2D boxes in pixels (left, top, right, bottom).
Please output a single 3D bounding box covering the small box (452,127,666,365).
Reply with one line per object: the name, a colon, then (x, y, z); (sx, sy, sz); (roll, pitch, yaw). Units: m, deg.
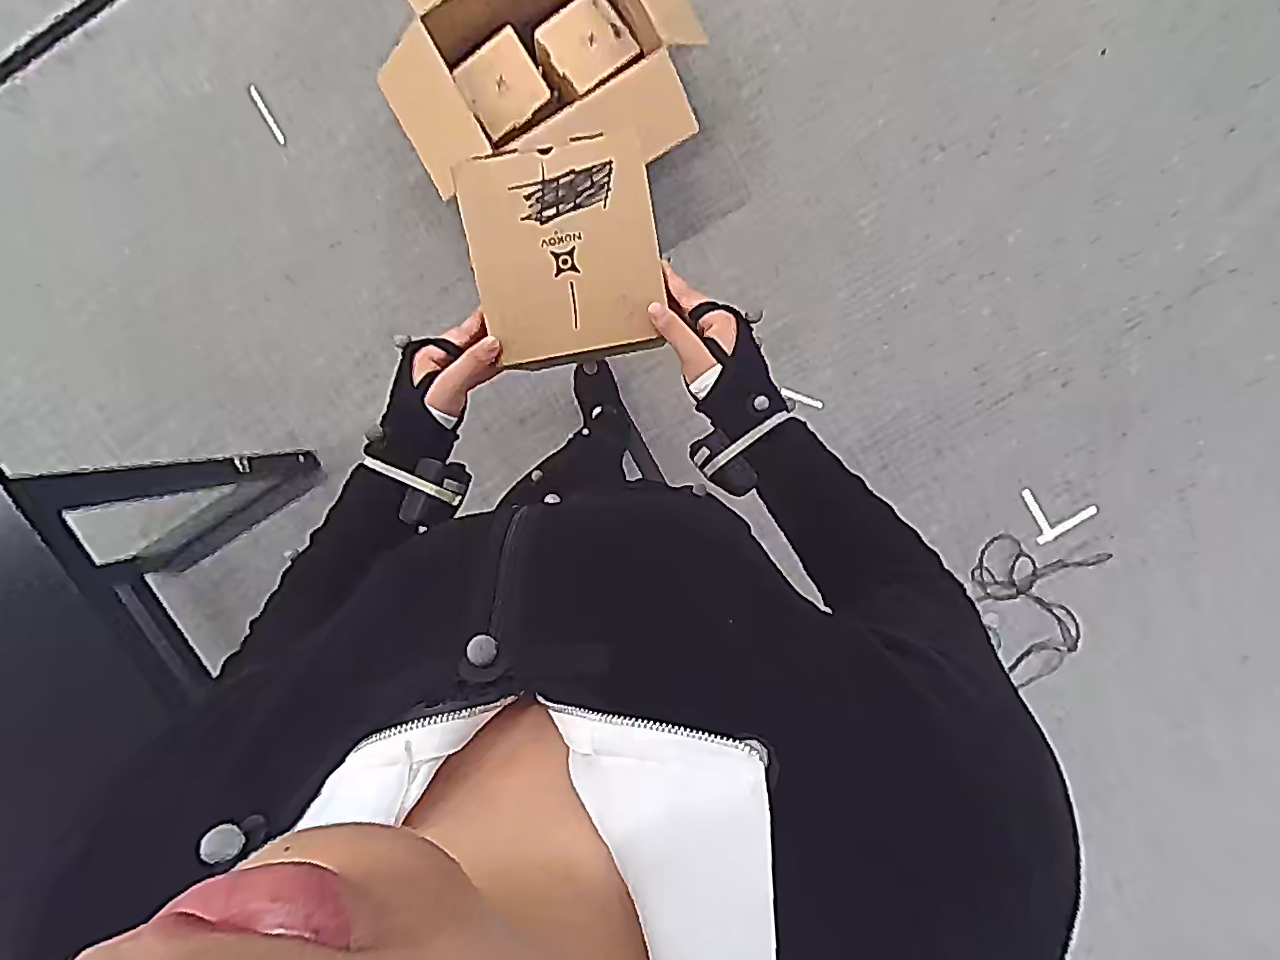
small box: (-0.071, -0.220, 0.557); (0.168, 0.176, 0.179); (-10, 101, 2)
